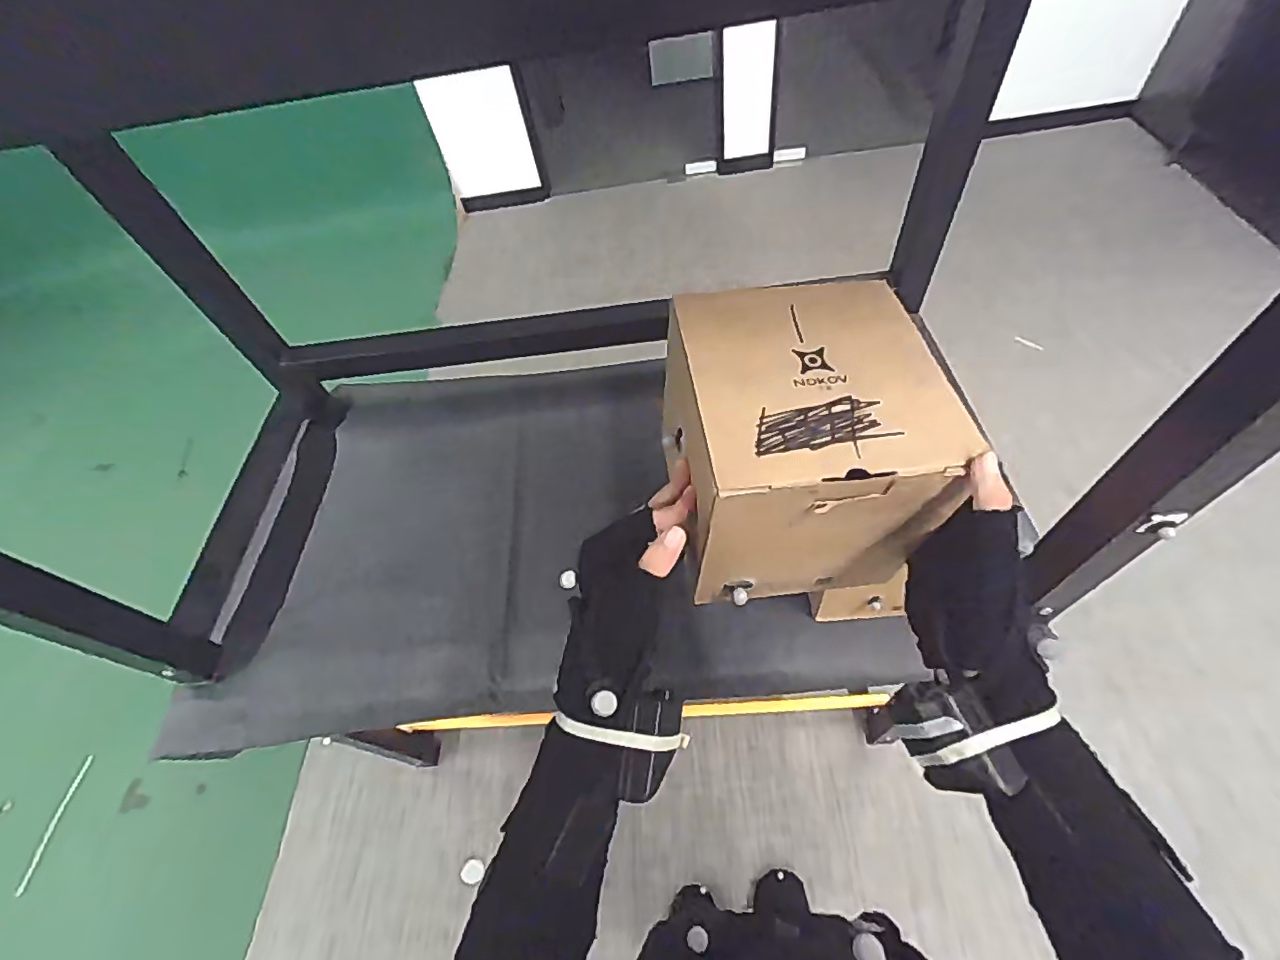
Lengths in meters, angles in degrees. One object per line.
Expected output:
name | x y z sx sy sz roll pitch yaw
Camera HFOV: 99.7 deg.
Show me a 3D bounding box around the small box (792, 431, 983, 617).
small box | 0.301 0.061 0.705 0.168 0.176 0.179 -6 54 6
